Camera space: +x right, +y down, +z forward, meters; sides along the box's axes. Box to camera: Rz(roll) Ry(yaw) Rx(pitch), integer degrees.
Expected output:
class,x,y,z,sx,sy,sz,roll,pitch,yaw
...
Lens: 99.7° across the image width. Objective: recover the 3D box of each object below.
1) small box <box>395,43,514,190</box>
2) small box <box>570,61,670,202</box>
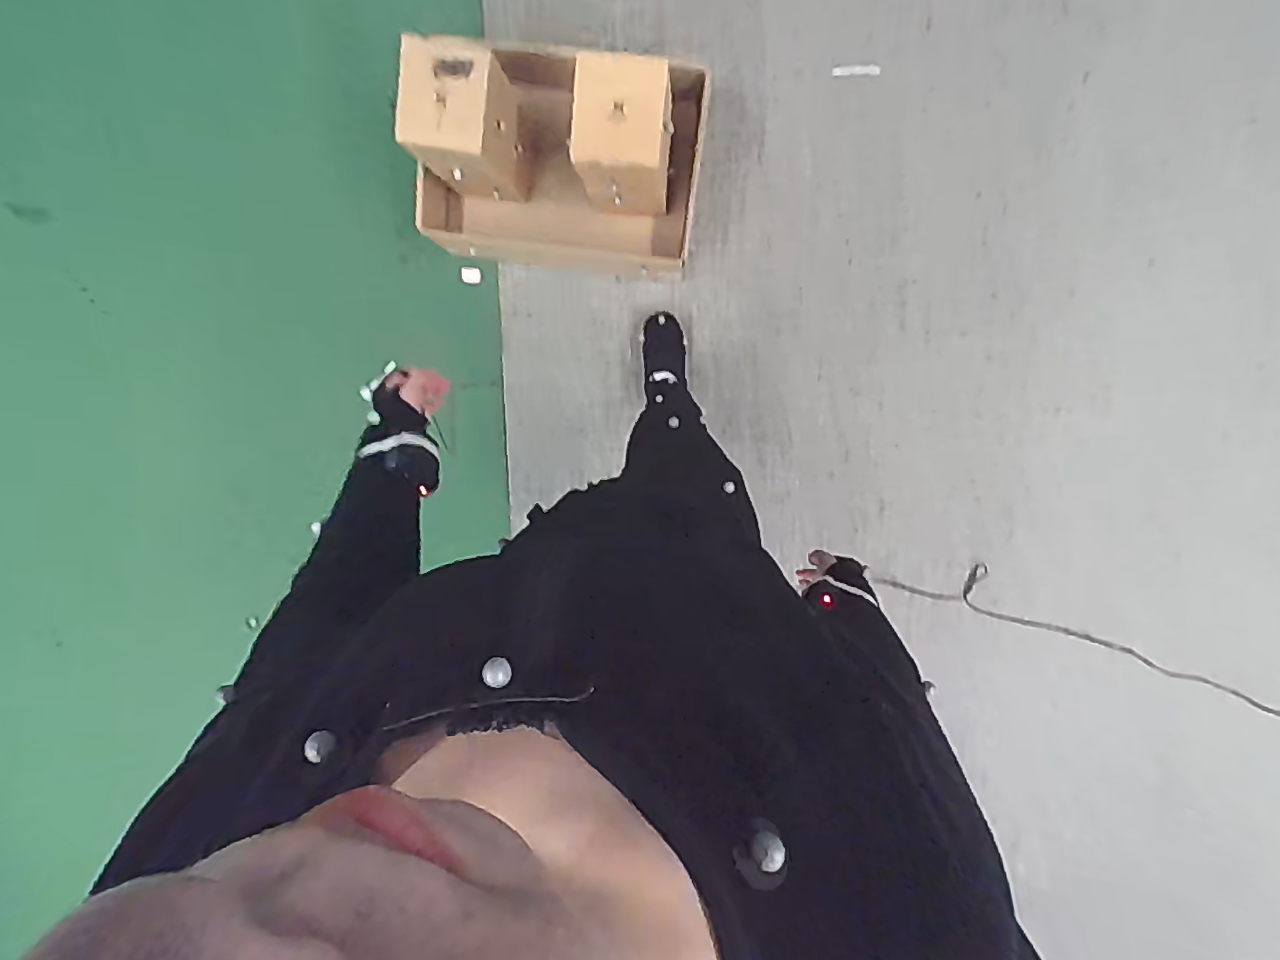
class,x,y,z,sx,sy,sz,roll,pitch,yaw
small box,-0.355,-0.702,1.064,0.168,0.176,0.179,11,102,1
small box,-0.033,-0.663,1.048,0.168,0.176,0.179,7,103,3
